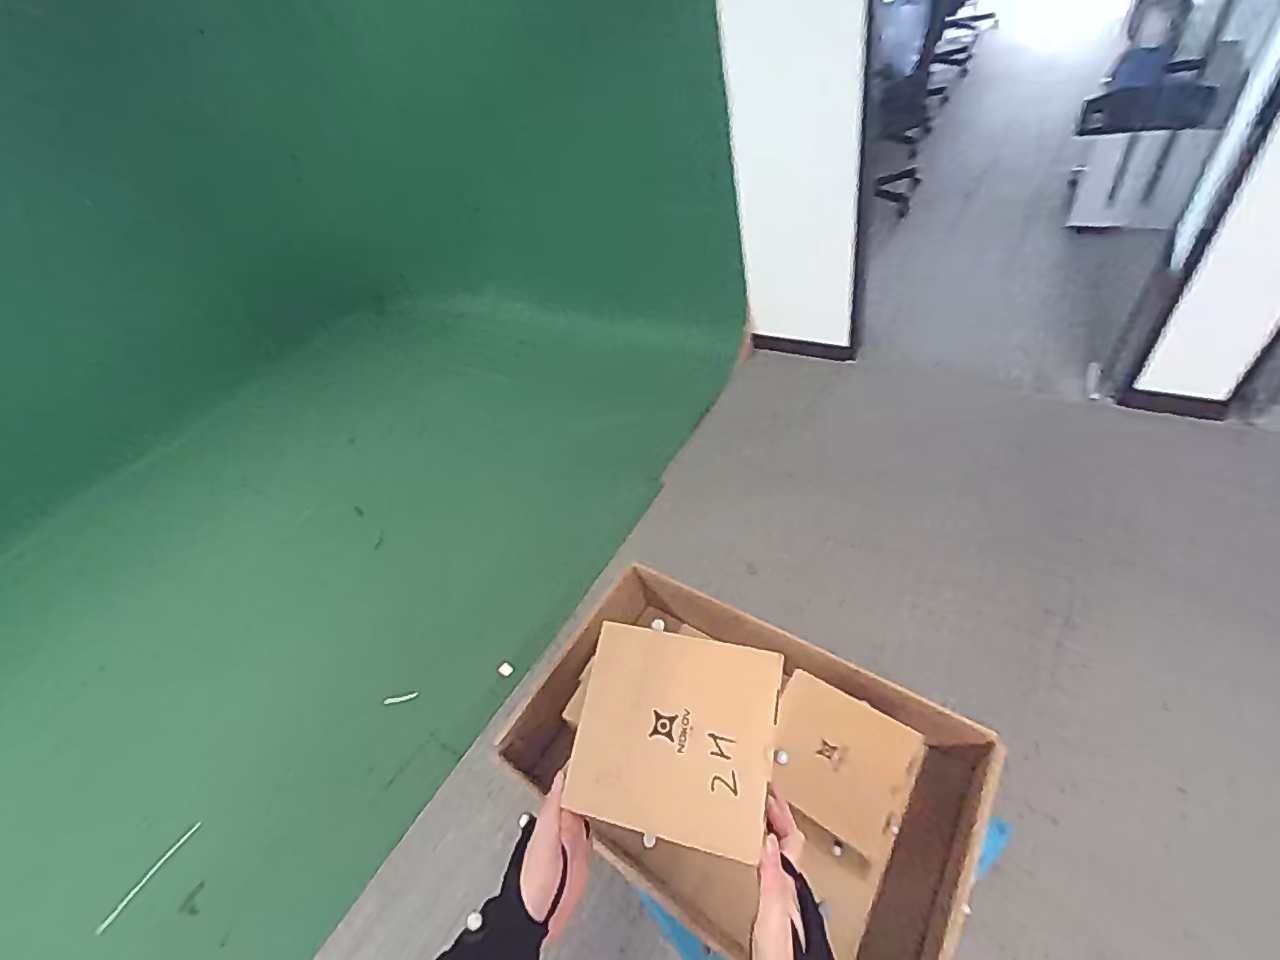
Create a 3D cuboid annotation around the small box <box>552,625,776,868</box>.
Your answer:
[{"bbox_3d":[0.039,0.258,0.546,0.179,0.176,0.168,6,66,16],"label":"small box"}]
